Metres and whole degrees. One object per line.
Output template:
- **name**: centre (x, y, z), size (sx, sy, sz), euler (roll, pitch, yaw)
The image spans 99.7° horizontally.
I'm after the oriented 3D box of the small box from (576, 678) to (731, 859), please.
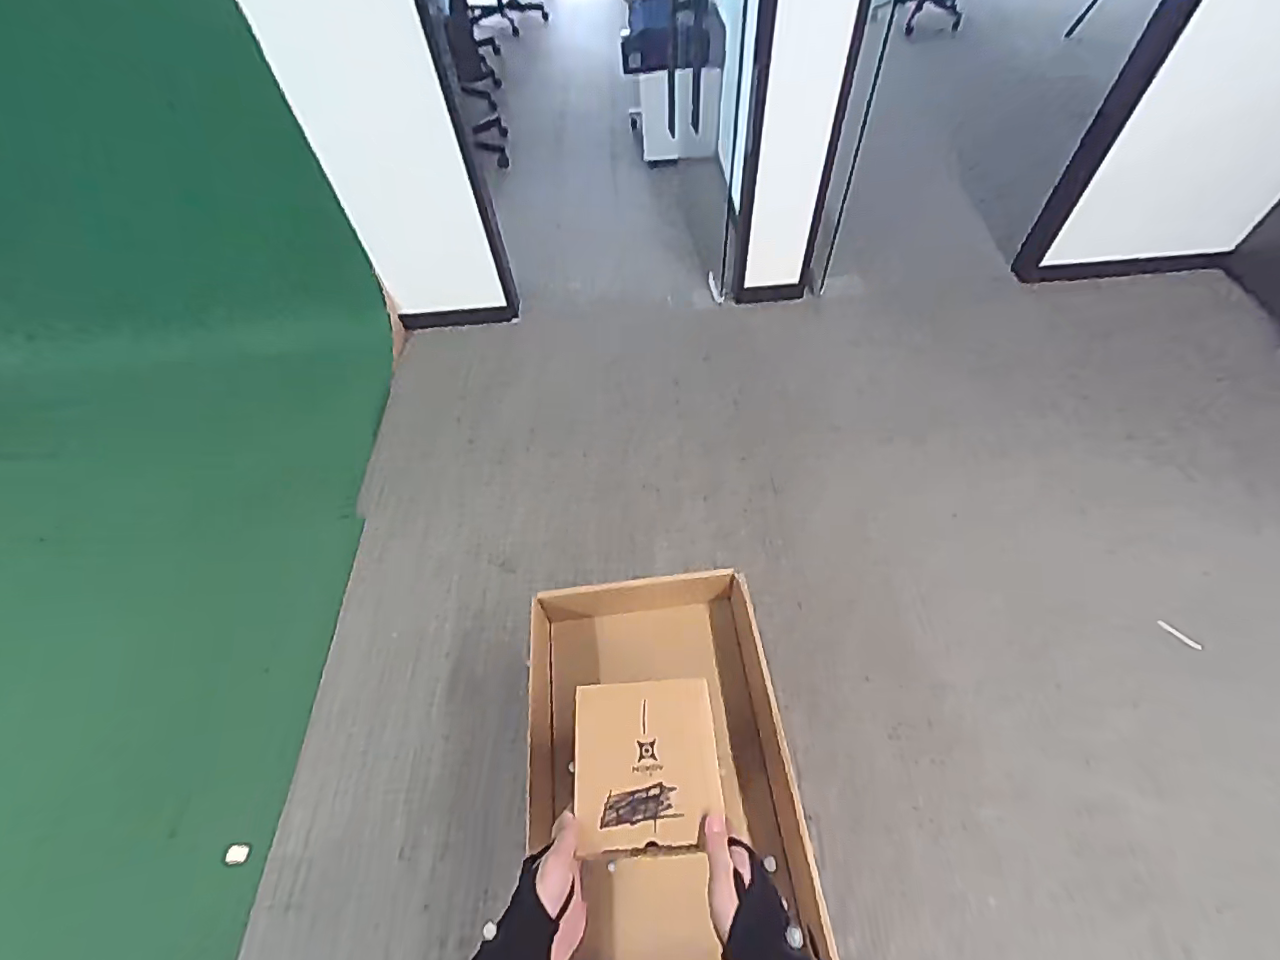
- **small box**: centre (0.013, 0.363, 0.674), size (0.168, 0.176, 0.179), euler (-3, 53, -2)
